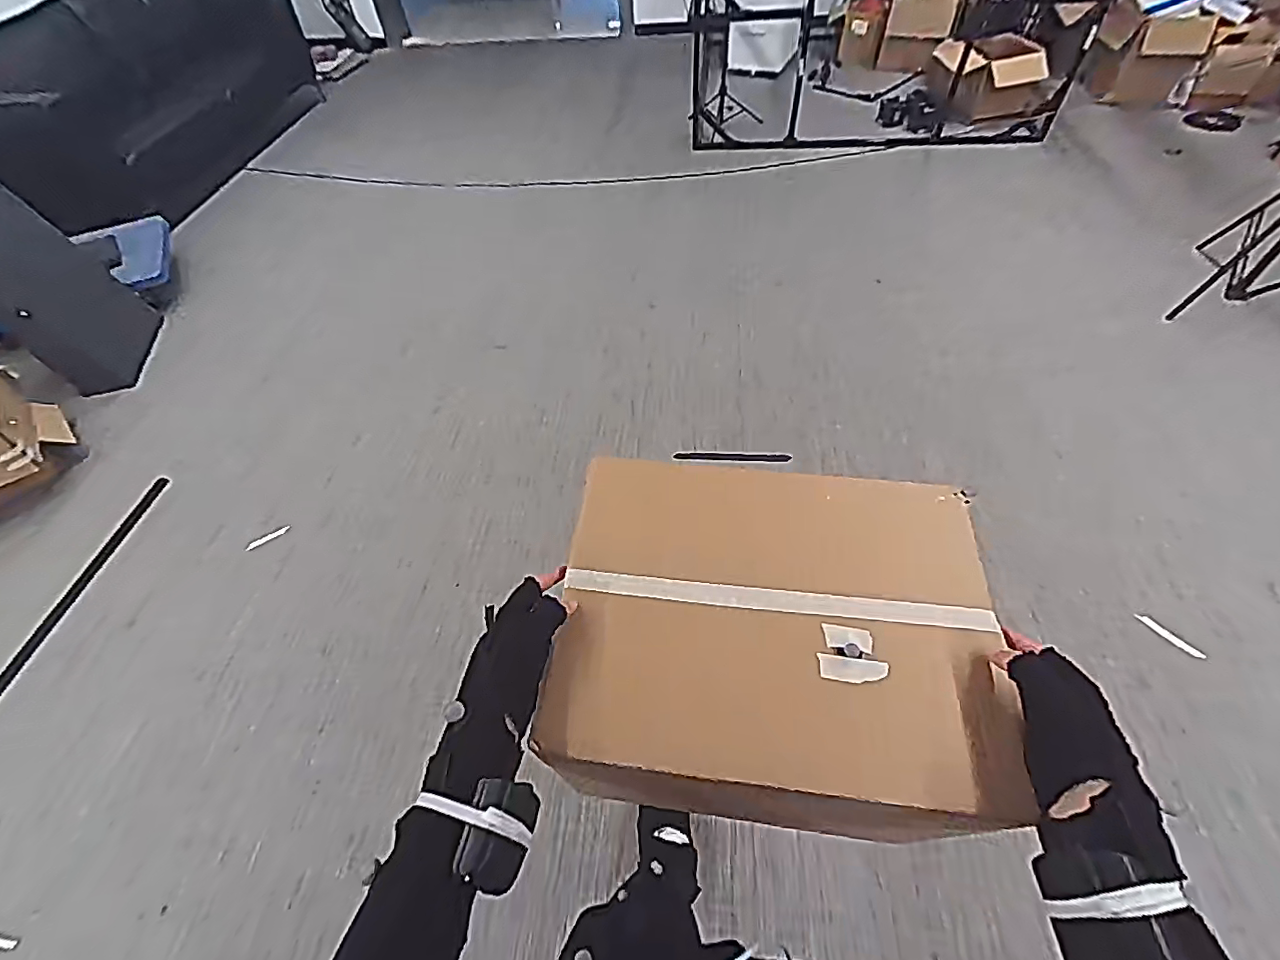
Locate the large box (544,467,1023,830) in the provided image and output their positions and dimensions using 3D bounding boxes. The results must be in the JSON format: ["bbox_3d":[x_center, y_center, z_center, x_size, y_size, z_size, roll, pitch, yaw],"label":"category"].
[{"bbox_3d":[0.131,0.208,0.654,0.408,0.320,0.320,5,55,6],"label":"large box"}]
